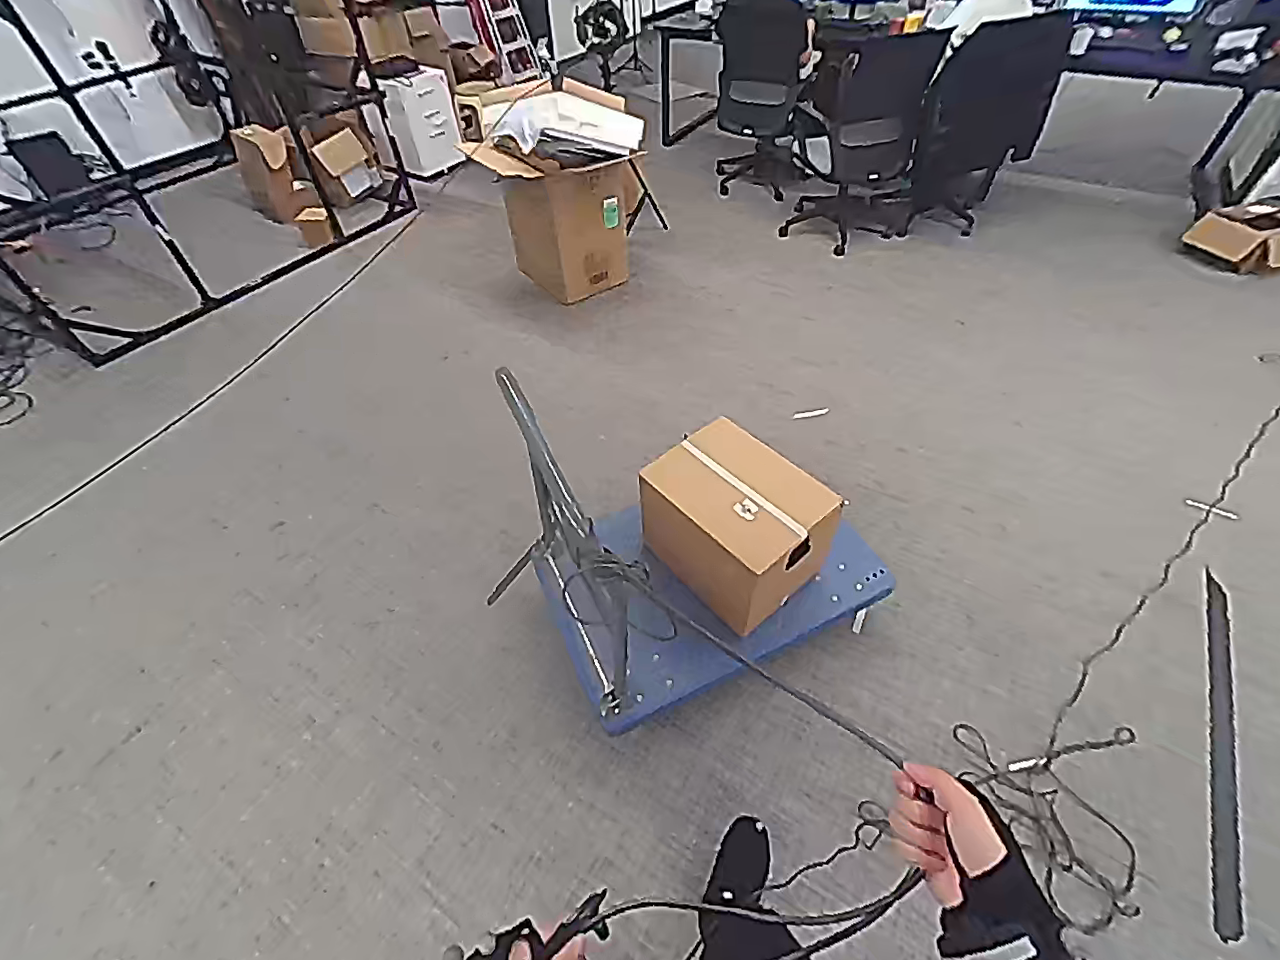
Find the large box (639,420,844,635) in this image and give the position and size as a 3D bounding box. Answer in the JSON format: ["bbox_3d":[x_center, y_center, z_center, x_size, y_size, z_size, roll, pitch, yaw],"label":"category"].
[{"bbox_3d":[0.240,0.116,1.417,0.320,0.320,0.408,-35,57,-23],"label":"large box"}]
